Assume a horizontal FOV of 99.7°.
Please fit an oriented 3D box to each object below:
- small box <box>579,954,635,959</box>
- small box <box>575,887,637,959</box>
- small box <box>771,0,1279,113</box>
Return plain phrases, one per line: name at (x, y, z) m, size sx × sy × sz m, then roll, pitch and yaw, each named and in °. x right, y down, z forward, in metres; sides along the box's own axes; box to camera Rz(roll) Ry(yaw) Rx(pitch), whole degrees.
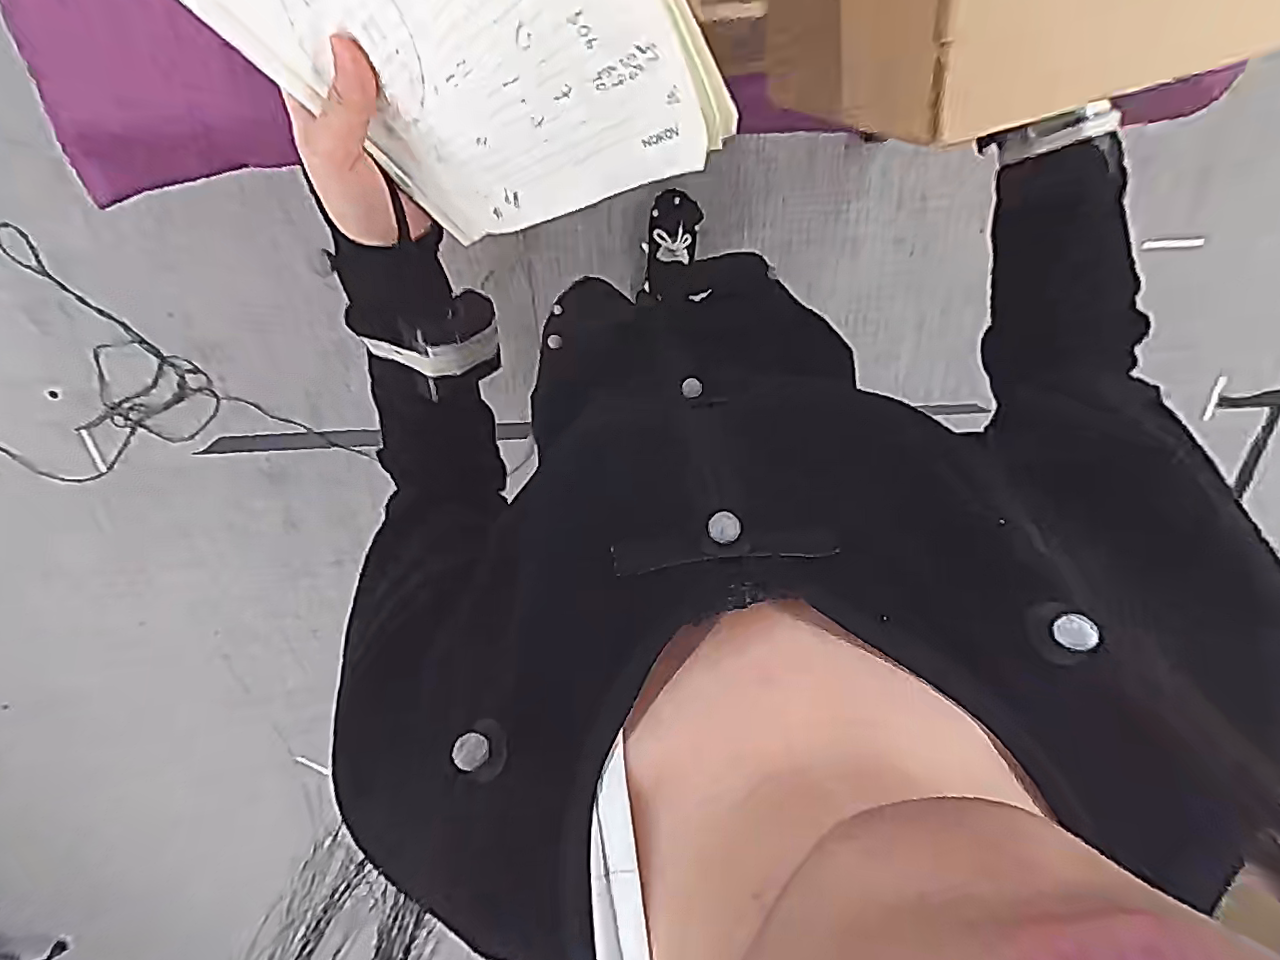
small box at (-0.092, 1.440, 1.476) m, size 0.168 × 0.176 × 0.179 m, roll 2°, pitch 117°, yaw -3°
small box at (-0.099, 1.355, 1.618) m, size 0.179 × 0.176 × 0.168 m, roll -1°, pitch 117°, yaw -2°
small box at (0.151, -0.259, 0.198) m, size 0.179 × 0.176 × 0.168 m, roll -17°, pitch 131°, yaw 1°
